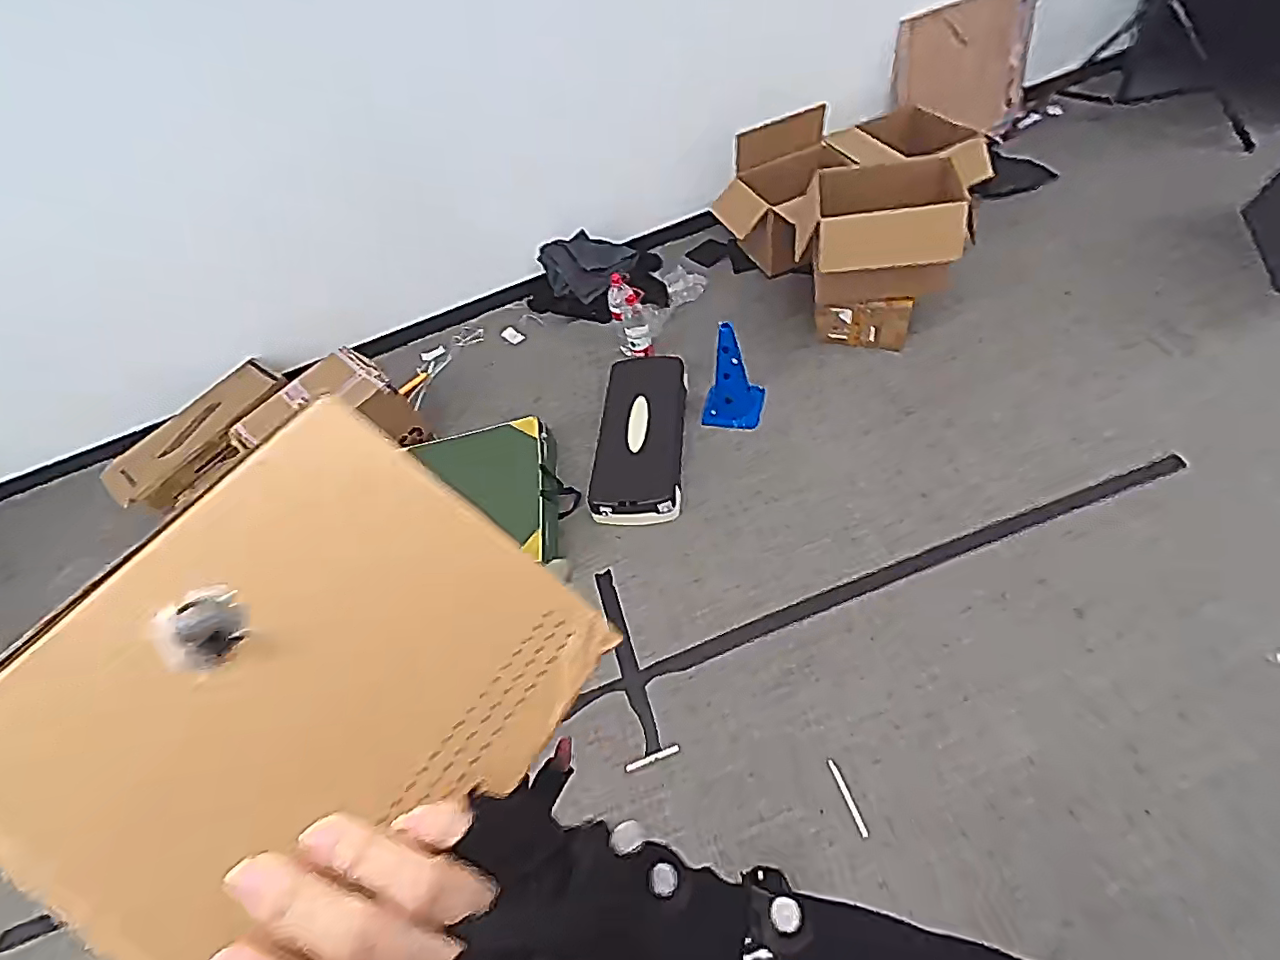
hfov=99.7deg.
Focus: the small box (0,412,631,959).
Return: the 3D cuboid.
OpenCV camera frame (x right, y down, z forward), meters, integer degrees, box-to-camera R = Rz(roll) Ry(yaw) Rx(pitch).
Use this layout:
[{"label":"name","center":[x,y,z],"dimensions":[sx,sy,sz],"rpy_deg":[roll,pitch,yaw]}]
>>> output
[{"label":"small box","center":[-0.131,0.103,0.289],"dimensions":[0.176,0.168,0.179],"rpy_deg":[40,68,0]}]
